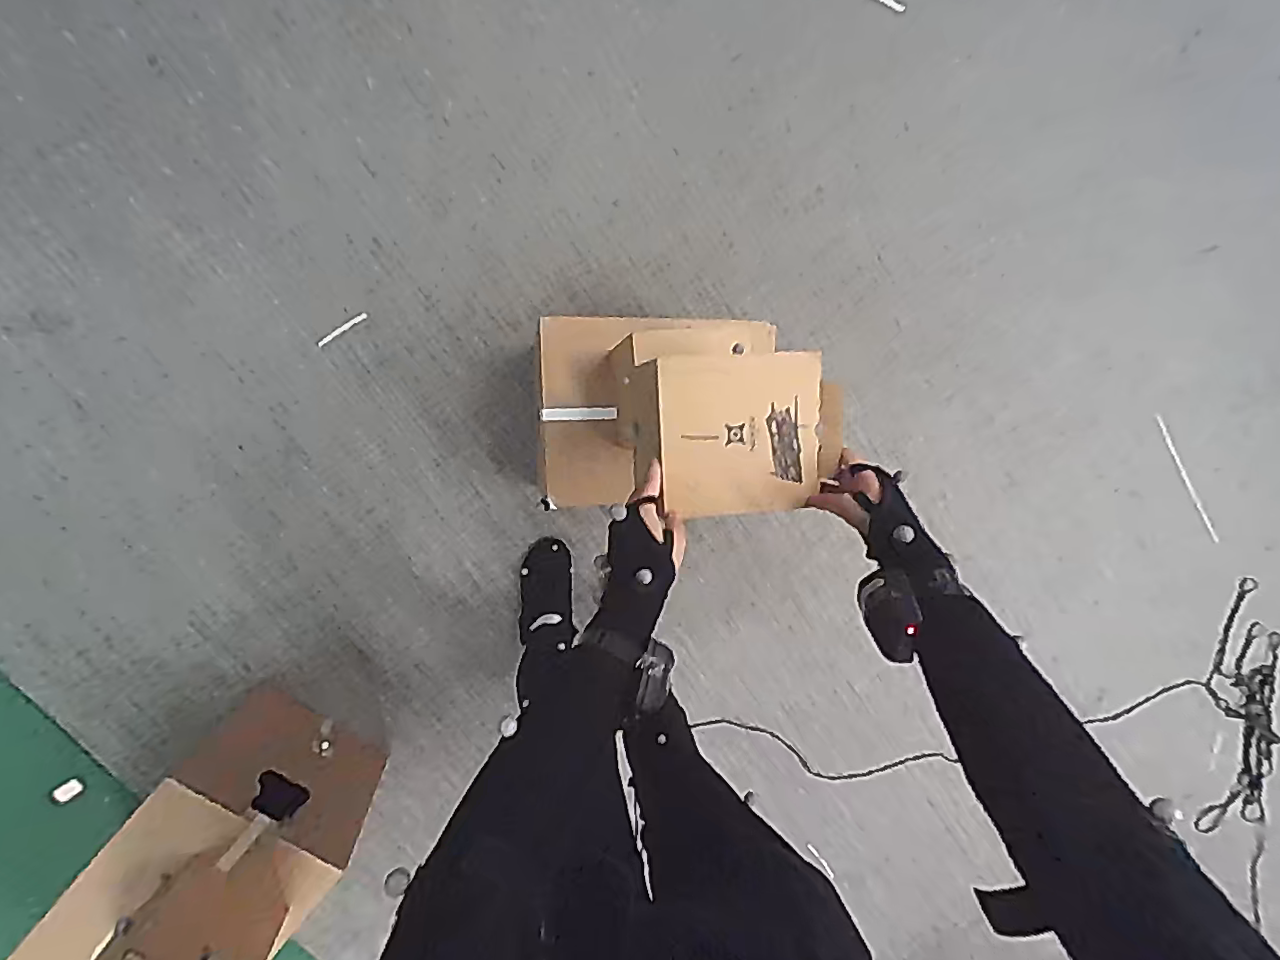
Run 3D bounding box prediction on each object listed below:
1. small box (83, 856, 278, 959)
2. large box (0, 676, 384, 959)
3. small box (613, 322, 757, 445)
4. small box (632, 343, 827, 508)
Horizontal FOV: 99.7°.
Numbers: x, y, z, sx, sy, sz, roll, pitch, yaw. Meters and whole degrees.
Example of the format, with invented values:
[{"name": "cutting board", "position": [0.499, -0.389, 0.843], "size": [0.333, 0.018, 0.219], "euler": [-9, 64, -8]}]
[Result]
[{"name": "small box", "position": [-0.656, 0.680, 0.750], "size": [0.168, 0.176, 0.179], "euler": [-44, 104, -5]}, {"name": "large box", "position": [-0.751, 0.652, 0.979], "size": [0.320, 0.320, 0.408], "euler": [41, 88, -13]}, {"name": "small box", "position": [0.065, -0.141, 0.824], "size": [0.179, 0.176, 0.168], "euler": [-6, 96, -13]}, {"name": "small box", "position": [0.093, -0.067, 0.626], "size": [0.179, 0.176, 0.168], "euler": [-3, 98, -10]}]
